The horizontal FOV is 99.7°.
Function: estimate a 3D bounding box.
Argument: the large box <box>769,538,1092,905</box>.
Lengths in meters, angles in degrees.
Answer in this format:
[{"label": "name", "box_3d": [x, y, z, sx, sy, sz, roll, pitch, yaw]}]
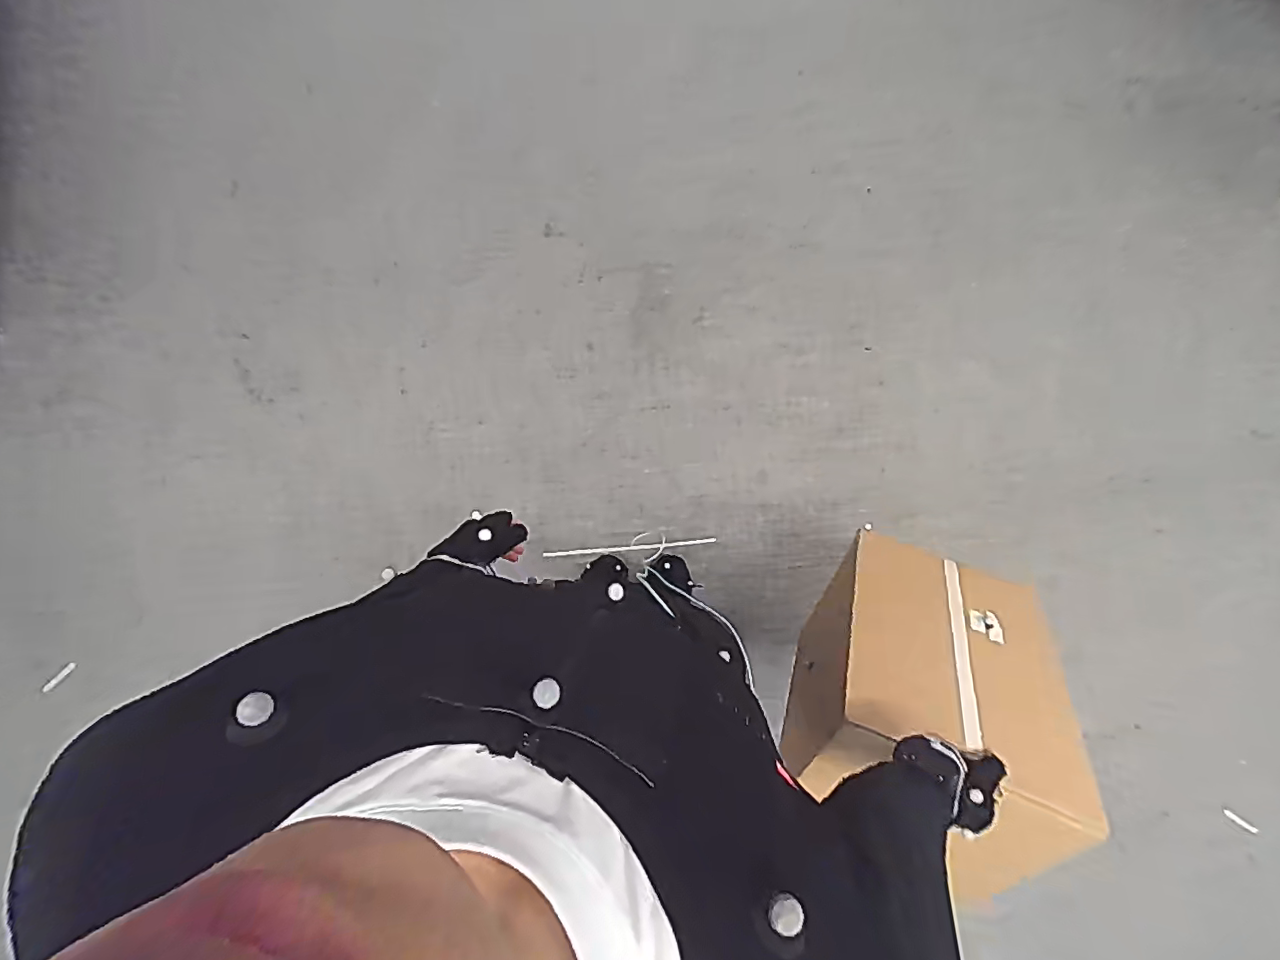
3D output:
[{"label": "large box", "box_3d": [0.438, 0.378, 0.905, 0.320, 0.408, 0.320, 23, 128, 10]}]
